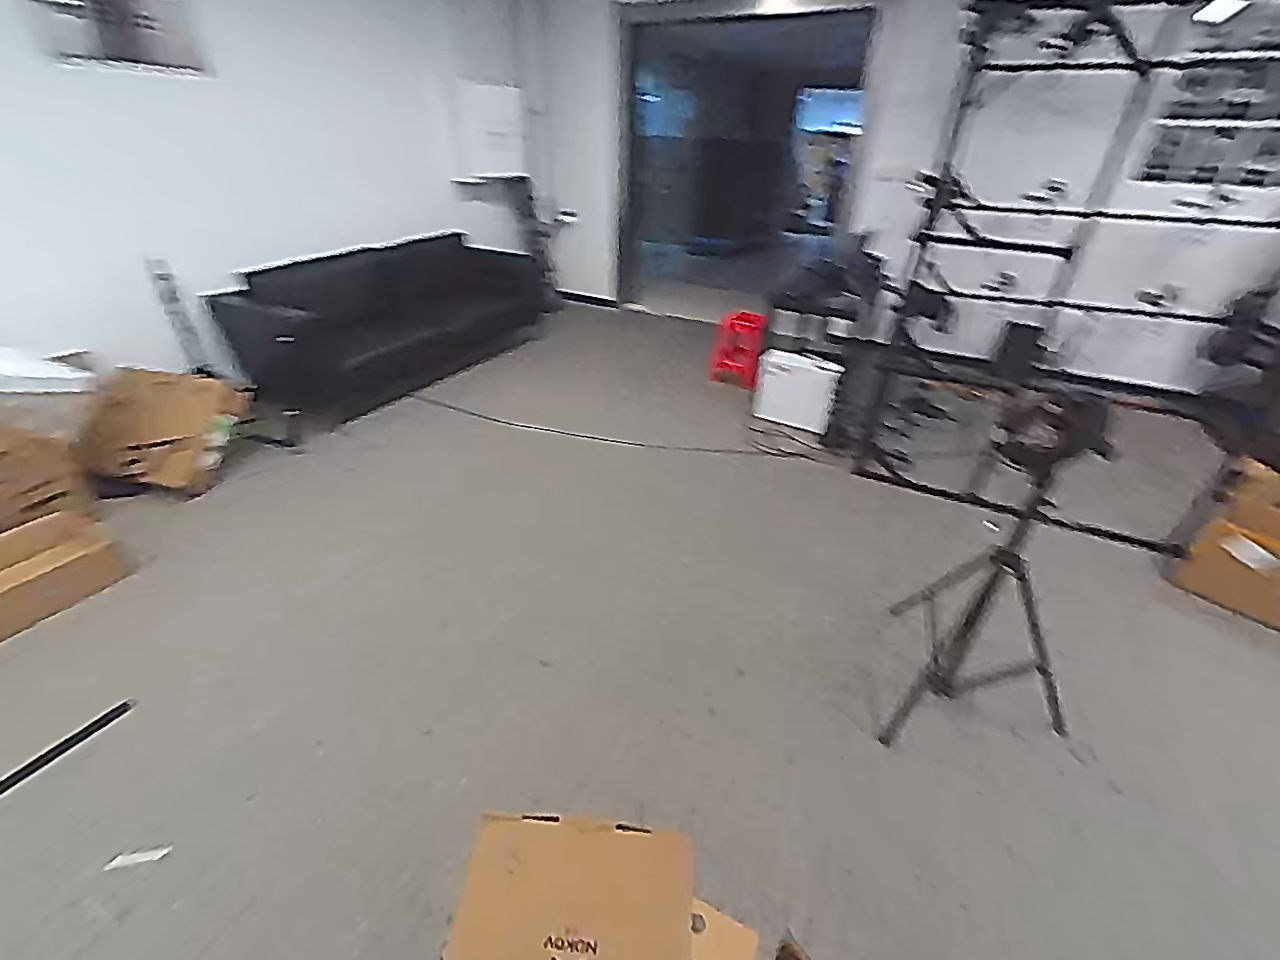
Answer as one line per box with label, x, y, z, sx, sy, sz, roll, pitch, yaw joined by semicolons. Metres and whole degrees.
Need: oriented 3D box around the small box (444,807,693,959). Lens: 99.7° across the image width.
small box;-0.051;0.378;0.411;0.168;0.176;0.179;4;45;3
